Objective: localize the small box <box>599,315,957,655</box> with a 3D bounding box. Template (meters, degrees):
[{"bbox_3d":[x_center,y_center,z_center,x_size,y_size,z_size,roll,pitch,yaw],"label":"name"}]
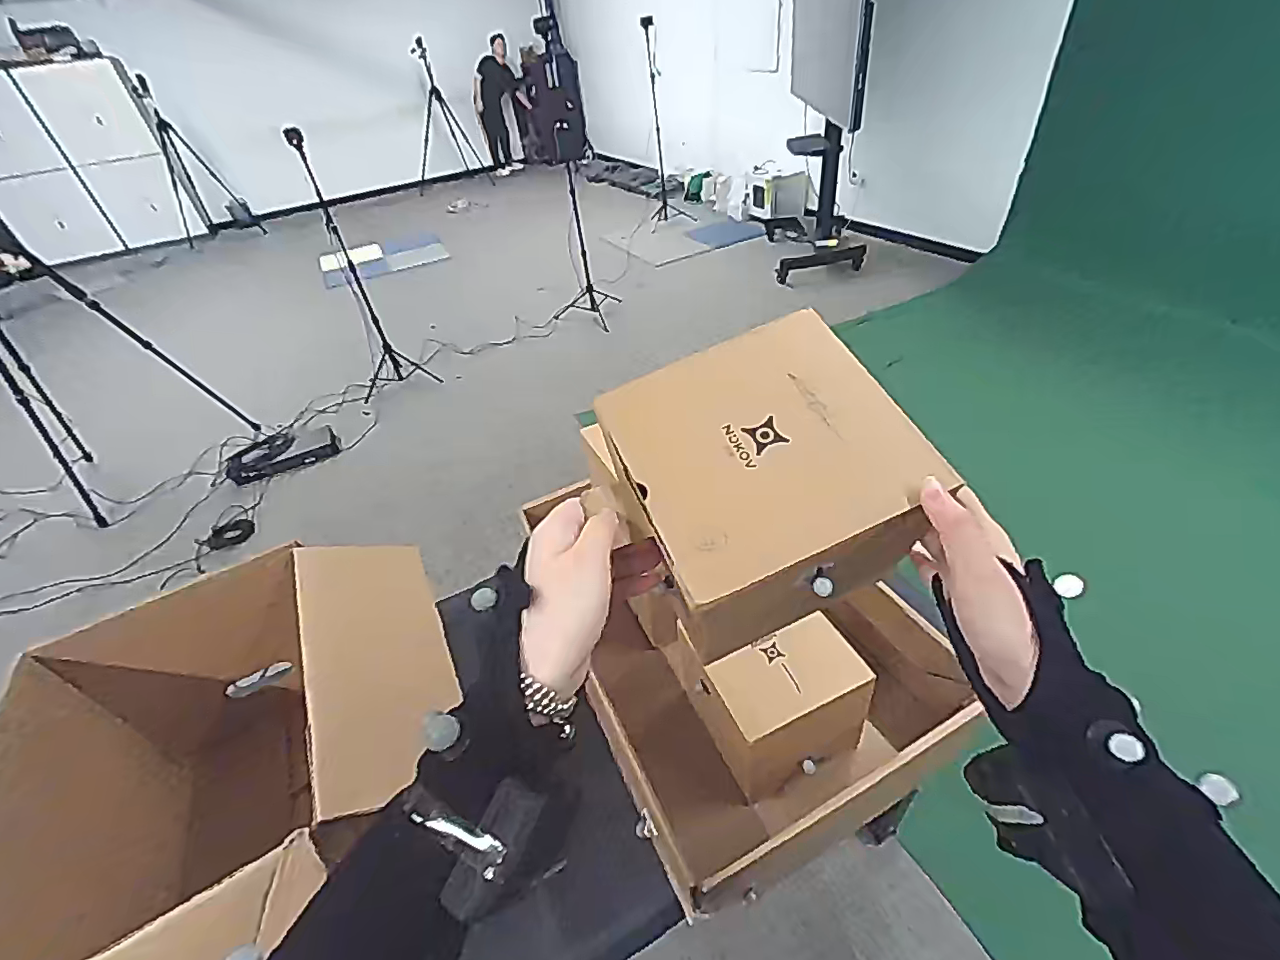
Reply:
[{"bbox_3d":[0.090,0.014,0.418,0.179,0.176,0.168,-24,61,-6],"label":"small box"}]

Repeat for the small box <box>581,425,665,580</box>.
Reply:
[{"bbox_3d":[0.039,0.010,0.759,0.179,0.176,0.168,-22,44,-17],"label":"small box"}]
